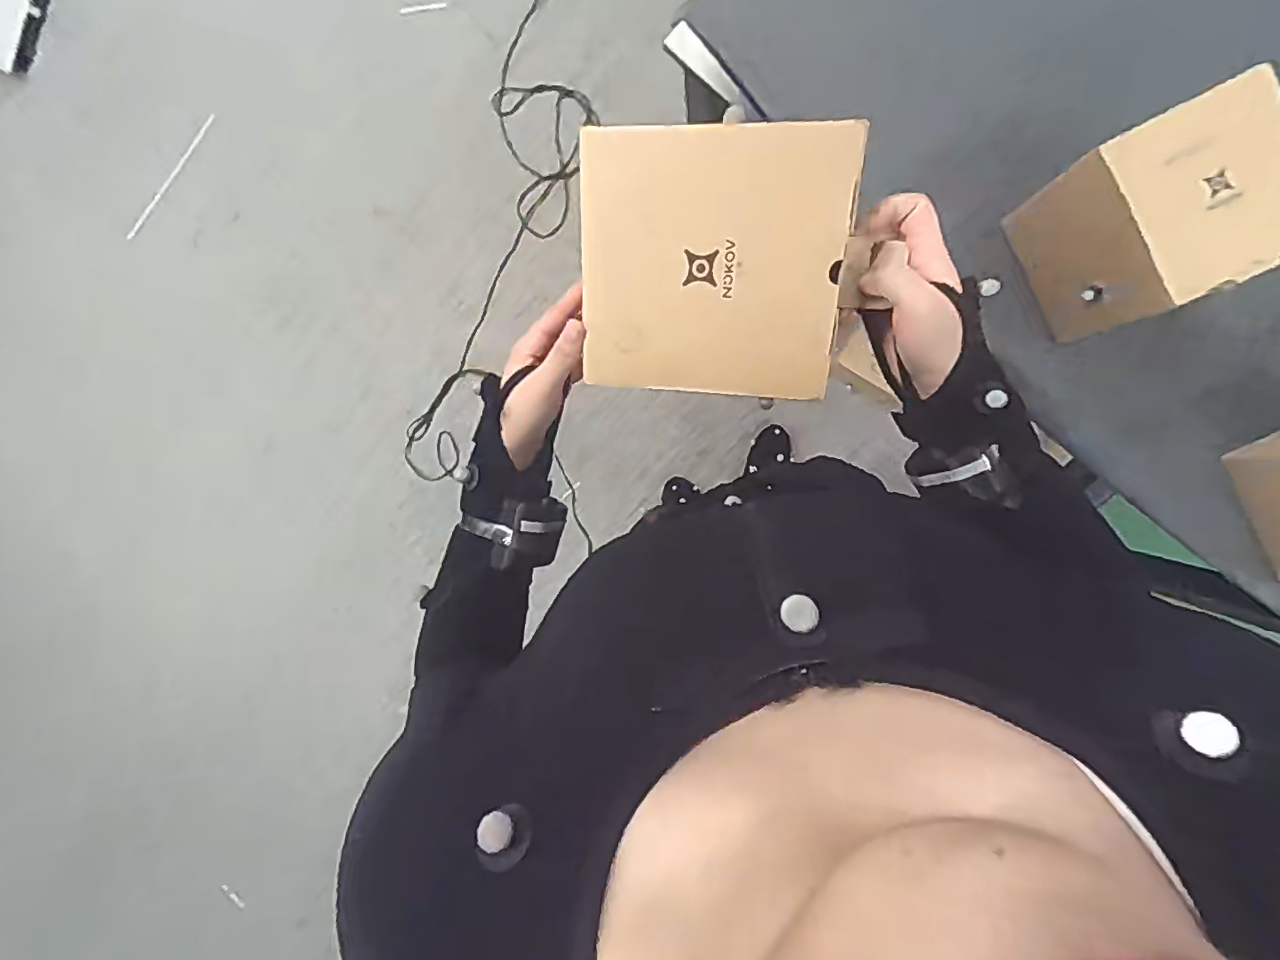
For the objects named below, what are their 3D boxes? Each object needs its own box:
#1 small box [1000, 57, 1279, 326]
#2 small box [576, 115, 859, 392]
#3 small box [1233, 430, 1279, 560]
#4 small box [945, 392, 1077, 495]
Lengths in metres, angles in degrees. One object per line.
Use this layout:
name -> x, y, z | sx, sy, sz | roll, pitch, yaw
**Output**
small box -> 0.548, -0.287, 0.591 | 0.168, 0.176, 0.179 | -27, 89, 5
small box -> 0.059, -0.171, 0.432 | 0.179, 0.176, 0.168 | 6, 111, 12
small box -> 0.812, 0.008, 0.571 | 0.168, 0.176, 0.179 | -25, 89, 6
small box -> 0.870, -0.087, 1.296 | 0.168, 0.176, 0.179 | 39, 98, 3
